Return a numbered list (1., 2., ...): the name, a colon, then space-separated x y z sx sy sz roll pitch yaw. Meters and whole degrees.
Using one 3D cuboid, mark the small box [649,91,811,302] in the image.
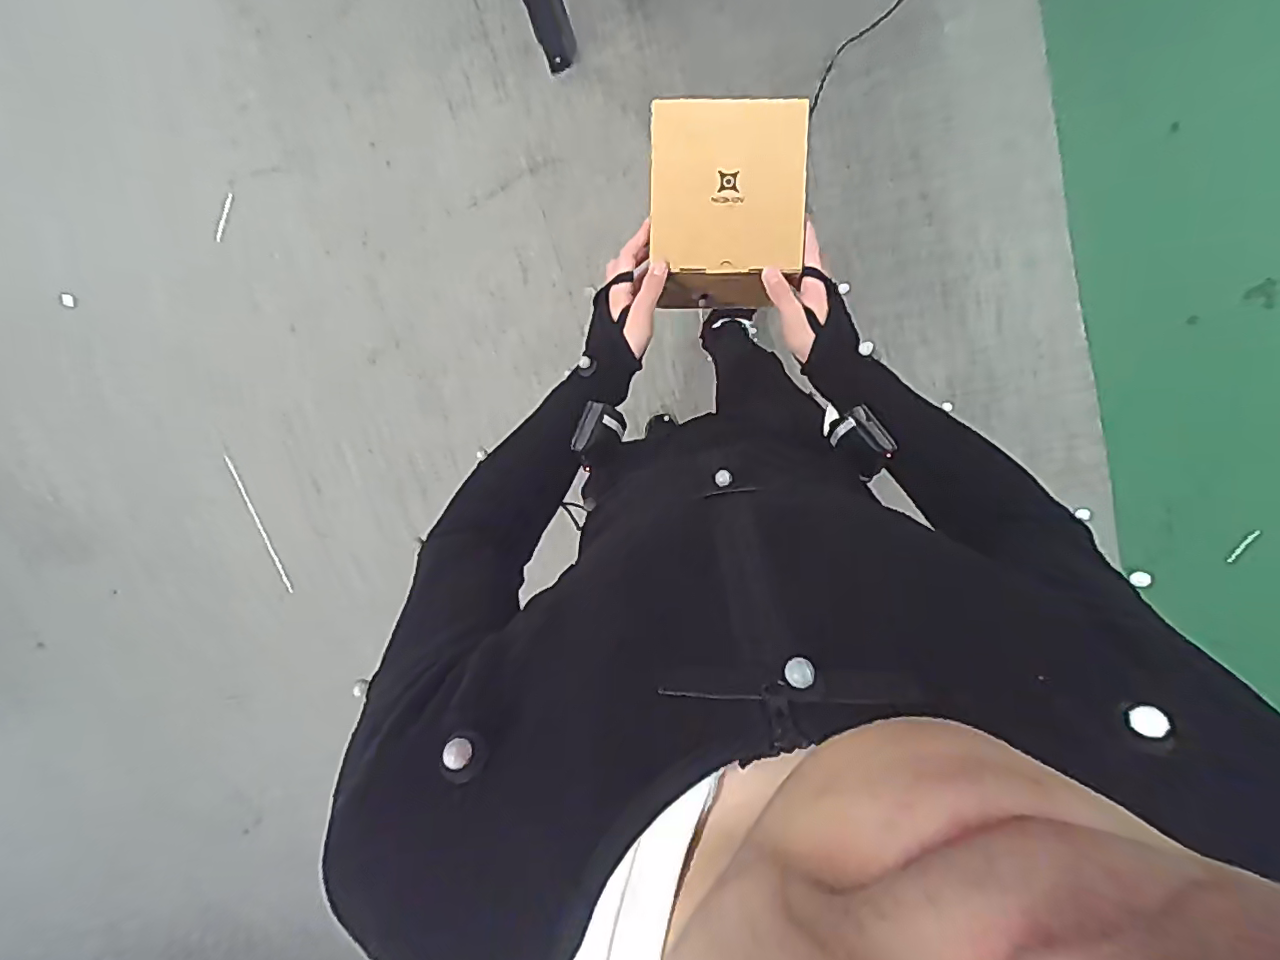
1. small box: 0.096 -0.323 0.647 0.168 0.176 0.179 0 96 1
